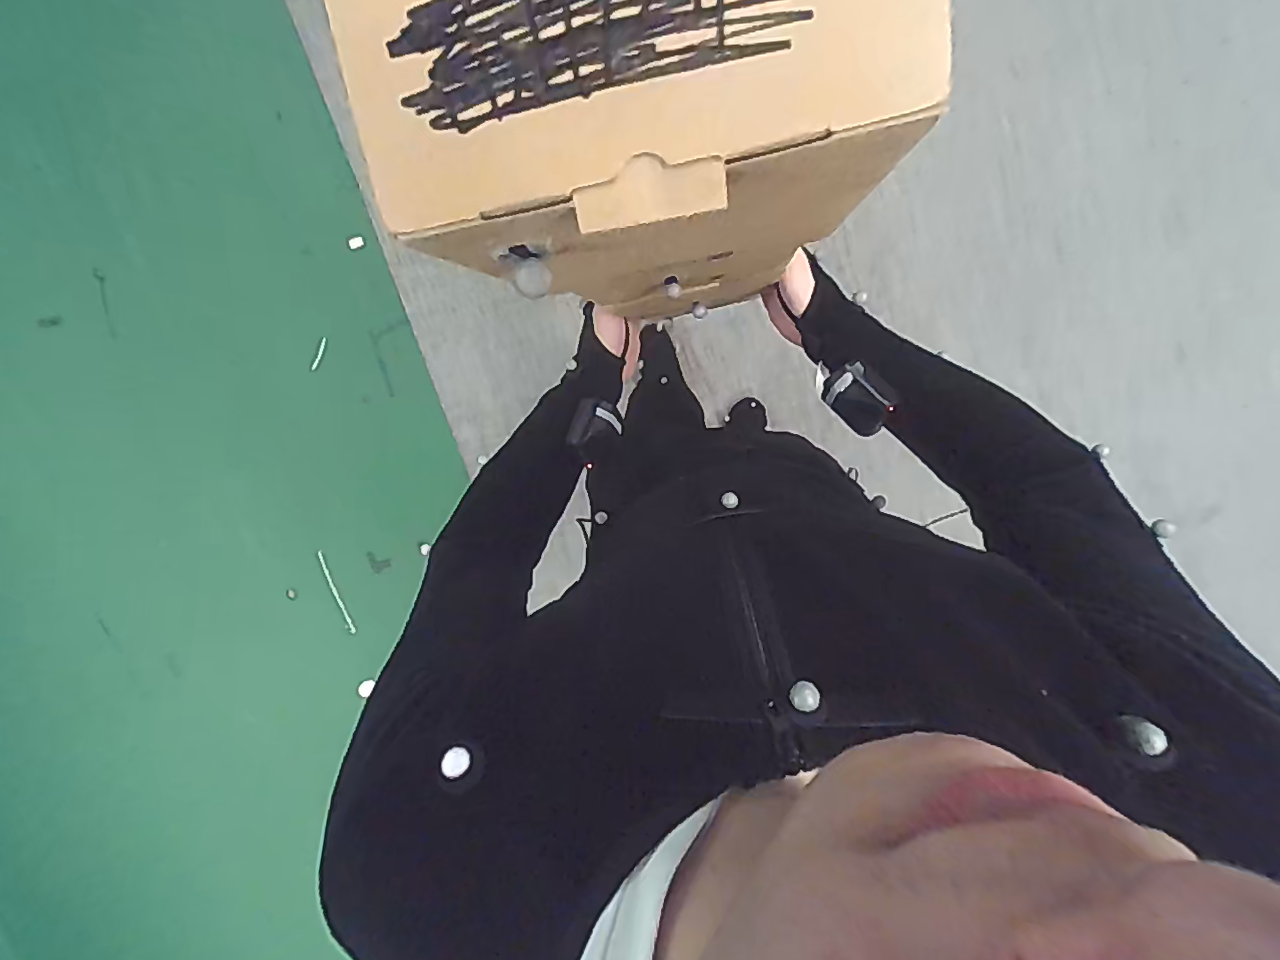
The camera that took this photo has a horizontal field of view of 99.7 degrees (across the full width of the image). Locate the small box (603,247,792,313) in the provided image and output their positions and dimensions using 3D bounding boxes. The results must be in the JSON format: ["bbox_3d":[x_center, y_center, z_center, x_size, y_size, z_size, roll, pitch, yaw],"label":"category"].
[{"bbox_3d":[0.043,-0.271,0.524,0.168,0.176,0.179,-10,102,10],"label":"small box"}]

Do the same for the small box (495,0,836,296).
[{"bbox_3d":[0.020,-0.238,0.367,0.168,0.176,0.179,-10,102,9],"label":"small box"}]
